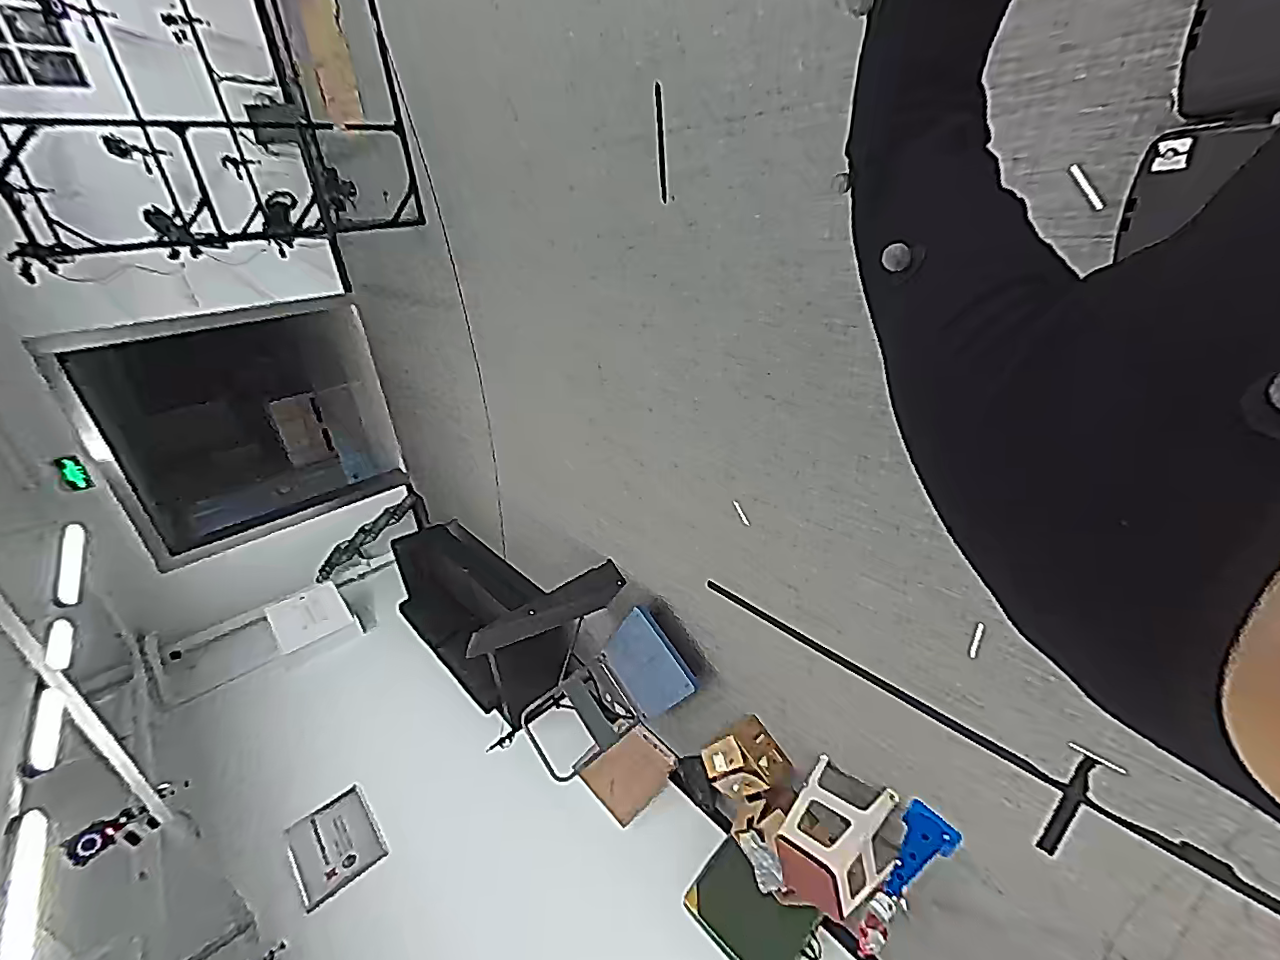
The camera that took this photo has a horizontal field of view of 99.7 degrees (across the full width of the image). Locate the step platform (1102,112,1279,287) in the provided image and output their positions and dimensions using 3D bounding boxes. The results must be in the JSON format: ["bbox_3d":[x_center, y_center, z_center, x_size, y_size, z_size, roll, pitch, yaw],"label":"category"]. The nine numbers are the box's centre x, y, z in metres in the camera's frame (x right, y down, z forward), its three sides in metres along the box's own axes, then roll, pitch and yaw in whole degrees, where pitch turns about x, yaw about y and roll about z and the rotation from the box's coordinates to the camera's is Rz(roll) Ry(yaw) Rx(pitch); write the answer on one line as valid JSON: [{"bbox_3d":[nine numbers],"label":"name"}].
[{"bbox_3d":[1.229,-0.479,0.906,0.684,0.204,0.286,23,128,46],"label":"step platform"}]
